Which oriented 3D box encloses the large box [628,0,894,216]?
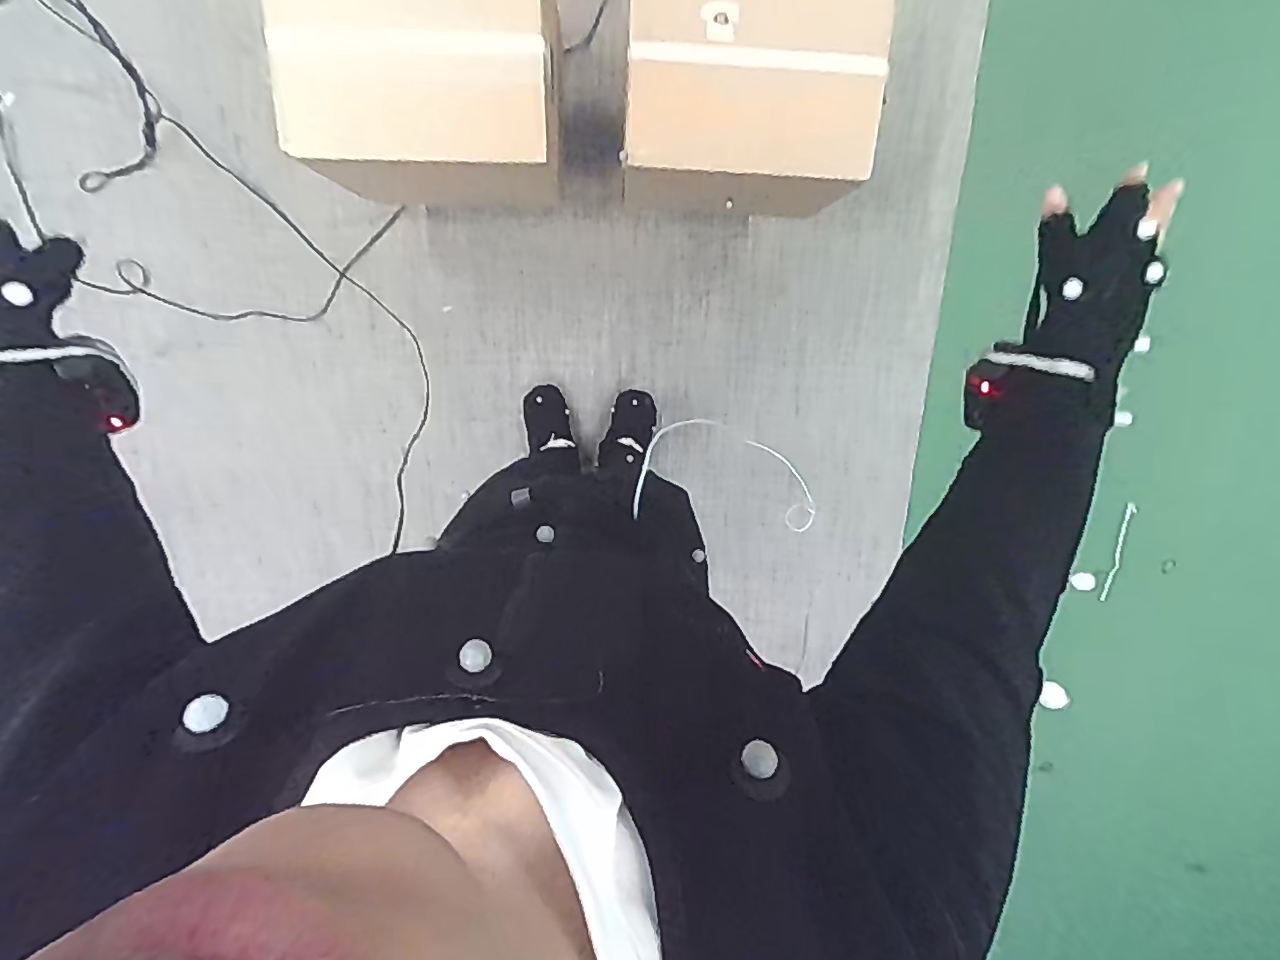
[{"bbox_3d":[0.187,-0.689,0.997,0.408,0.320,0.320,3,105,-3],"label":"large box"}]
